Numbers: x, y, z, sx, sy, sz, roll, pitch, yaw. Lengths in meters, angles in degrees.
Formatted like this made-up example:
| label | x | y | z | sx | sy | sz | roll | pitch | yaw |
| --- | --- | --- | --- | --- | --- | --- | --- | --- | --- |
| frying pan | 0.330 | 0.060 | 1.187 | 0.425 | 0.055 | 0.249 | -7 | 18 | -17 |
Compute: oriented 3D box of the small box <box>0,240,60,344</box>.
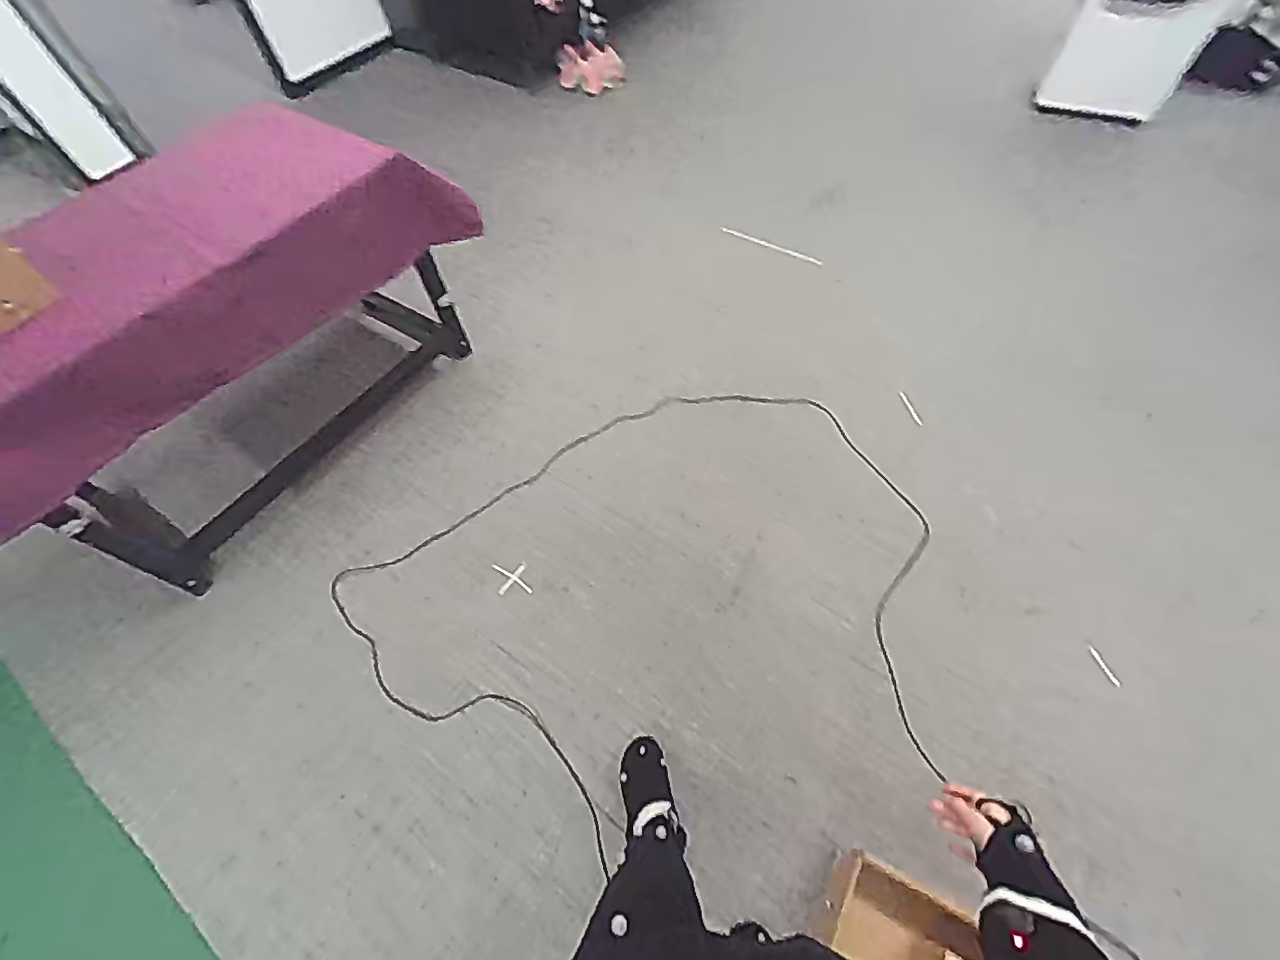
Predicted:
| label | x | y | z | sx | sy | sz | roll | pitch | yaw |
| --- | --- | --- | --- | --- | --- | --- | --- | --- | --- |
| small box | -1.385 | -0.410 | 1.124 | 0.168 | 0.176 | 0.179 | 27 | 63 | 19 |
